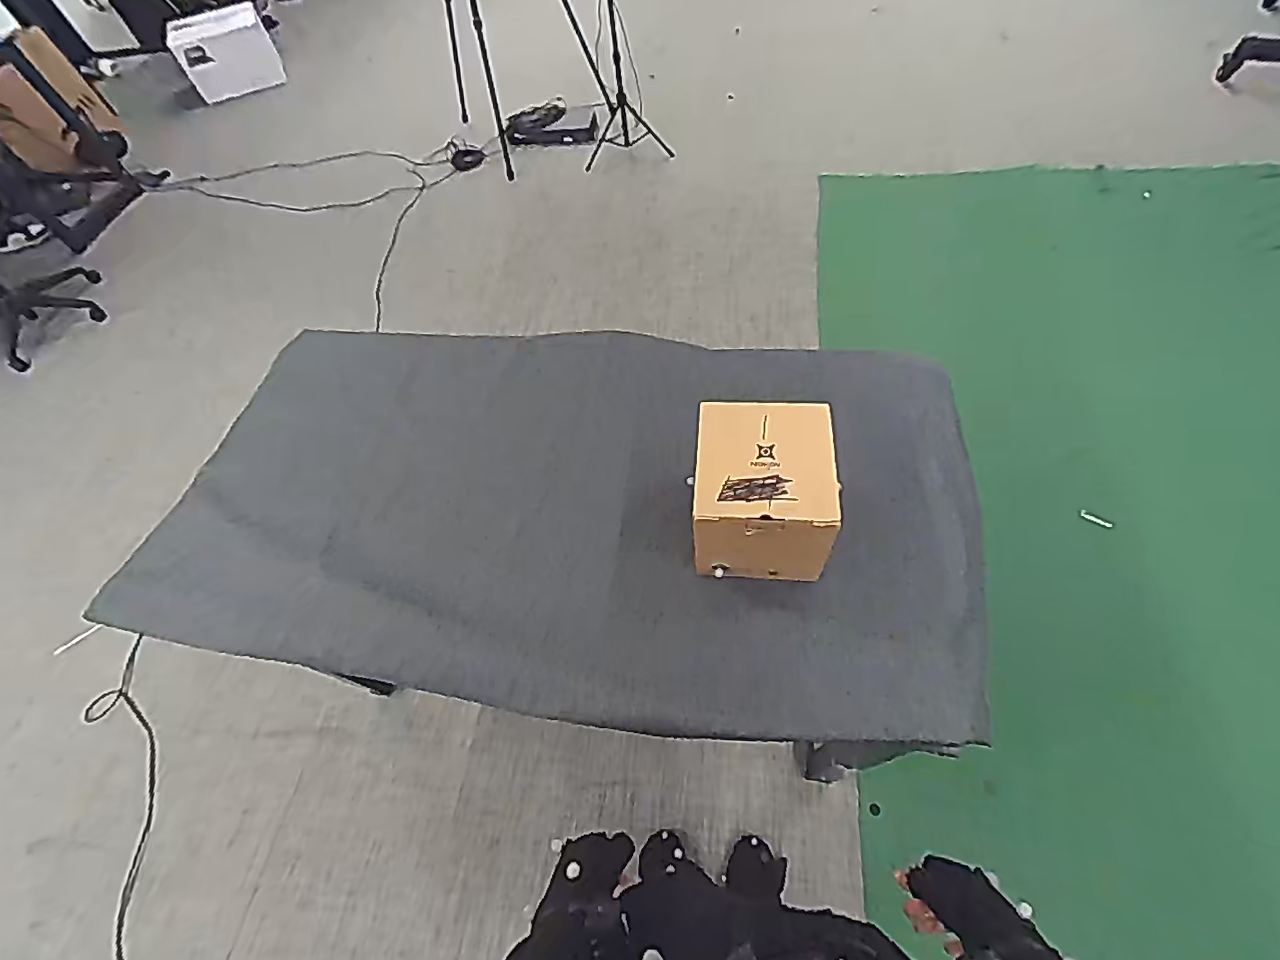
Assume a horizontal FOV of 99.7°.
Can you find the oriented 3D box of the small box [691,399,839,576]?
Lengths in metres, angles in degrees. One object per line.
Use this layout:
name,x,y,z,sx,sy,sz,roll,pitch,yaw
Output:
small box,0.158,0.014,0.712,0.168,0.176,0.179,2,57,9
